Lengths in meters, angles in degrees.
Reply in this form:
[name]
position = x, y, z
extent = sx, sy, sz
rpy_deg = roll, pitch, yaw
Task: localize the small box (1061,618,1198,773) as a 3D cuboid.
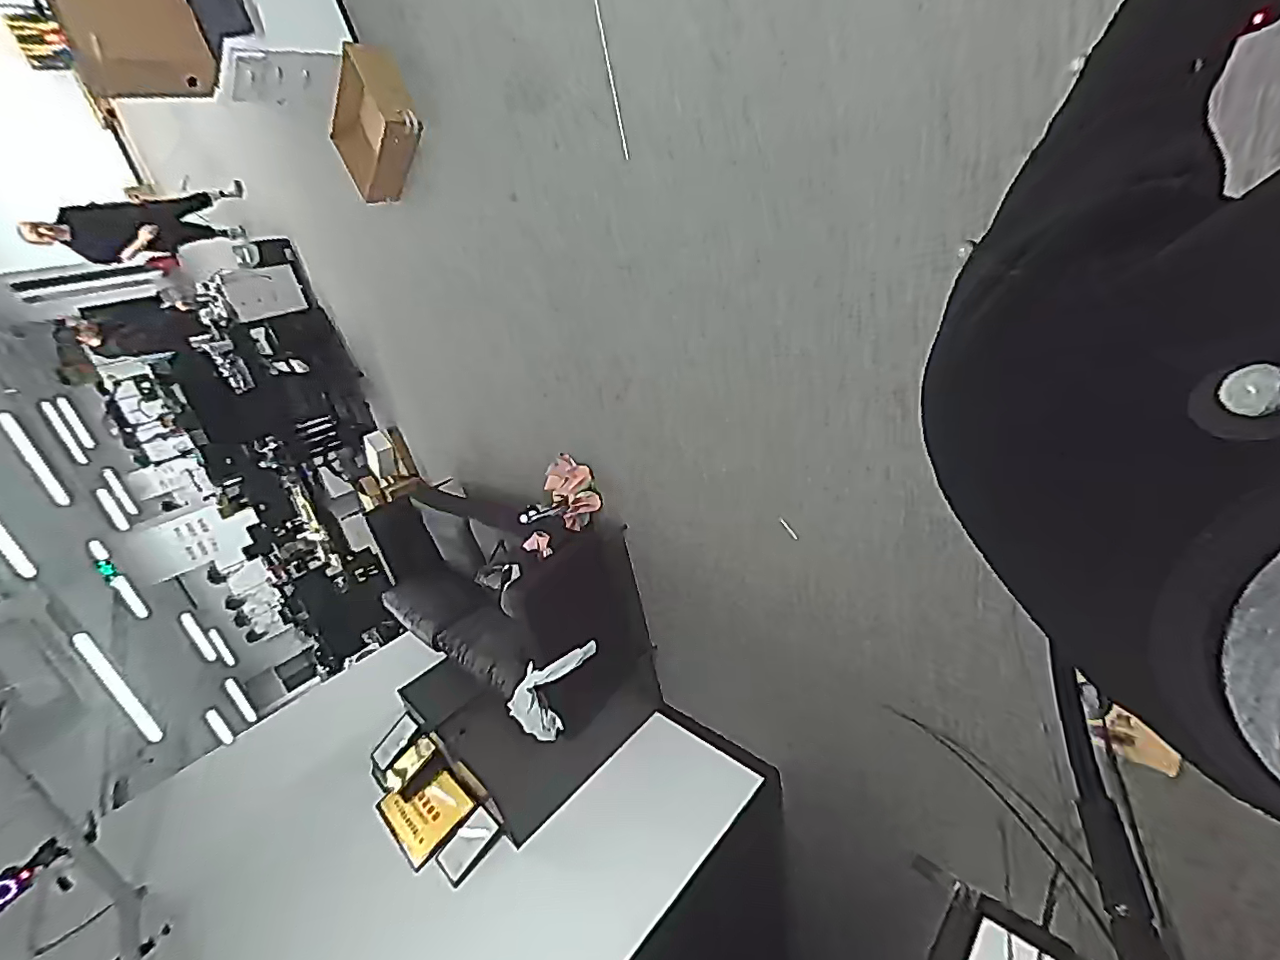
[small box]
position = 0.930, 0.399, 1.030
extent = 0.168, 0.176, 0.179
rpy_deg = 12, 122, 44
